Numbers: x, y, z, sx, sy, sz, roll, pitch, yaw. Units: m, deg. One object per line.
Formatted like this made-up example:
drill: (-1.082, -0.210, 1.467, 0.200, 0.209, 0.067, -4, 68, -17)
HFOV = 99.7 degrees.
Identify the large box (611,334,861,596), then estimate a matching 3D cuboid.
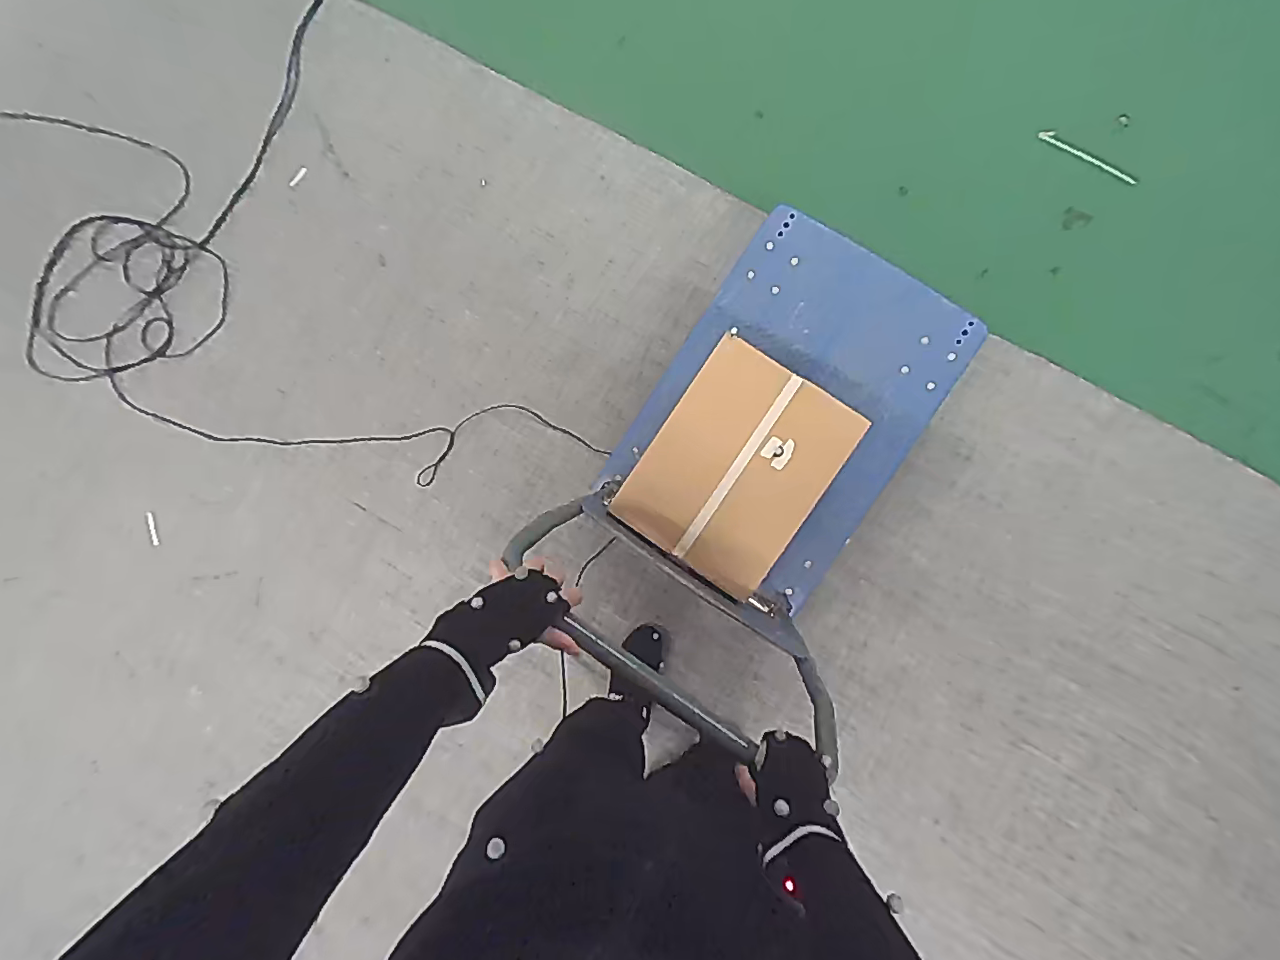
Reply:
large box: (0.188, -0.024, 1.154, 0.320, 0.320, 0.408, 34, 92, 4)
